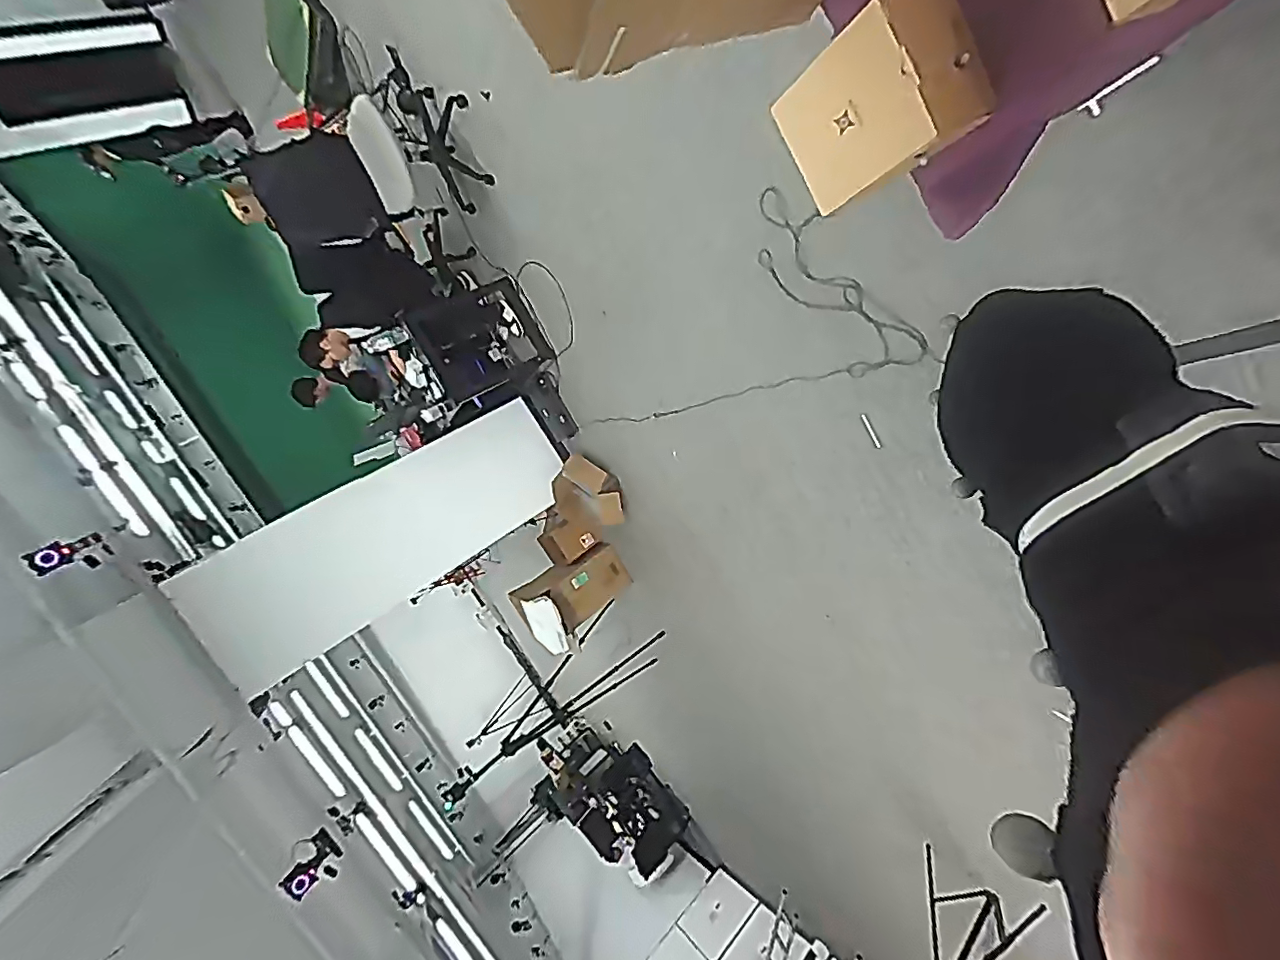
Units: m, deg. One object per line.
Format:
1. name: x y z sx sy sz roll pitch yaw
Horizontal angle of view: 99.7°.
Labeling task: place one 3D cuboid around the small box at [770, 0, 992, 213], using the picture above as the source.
1. small box: 0.315 -0.493 0.712 0.168 0.176 0.179 59 152 -8
